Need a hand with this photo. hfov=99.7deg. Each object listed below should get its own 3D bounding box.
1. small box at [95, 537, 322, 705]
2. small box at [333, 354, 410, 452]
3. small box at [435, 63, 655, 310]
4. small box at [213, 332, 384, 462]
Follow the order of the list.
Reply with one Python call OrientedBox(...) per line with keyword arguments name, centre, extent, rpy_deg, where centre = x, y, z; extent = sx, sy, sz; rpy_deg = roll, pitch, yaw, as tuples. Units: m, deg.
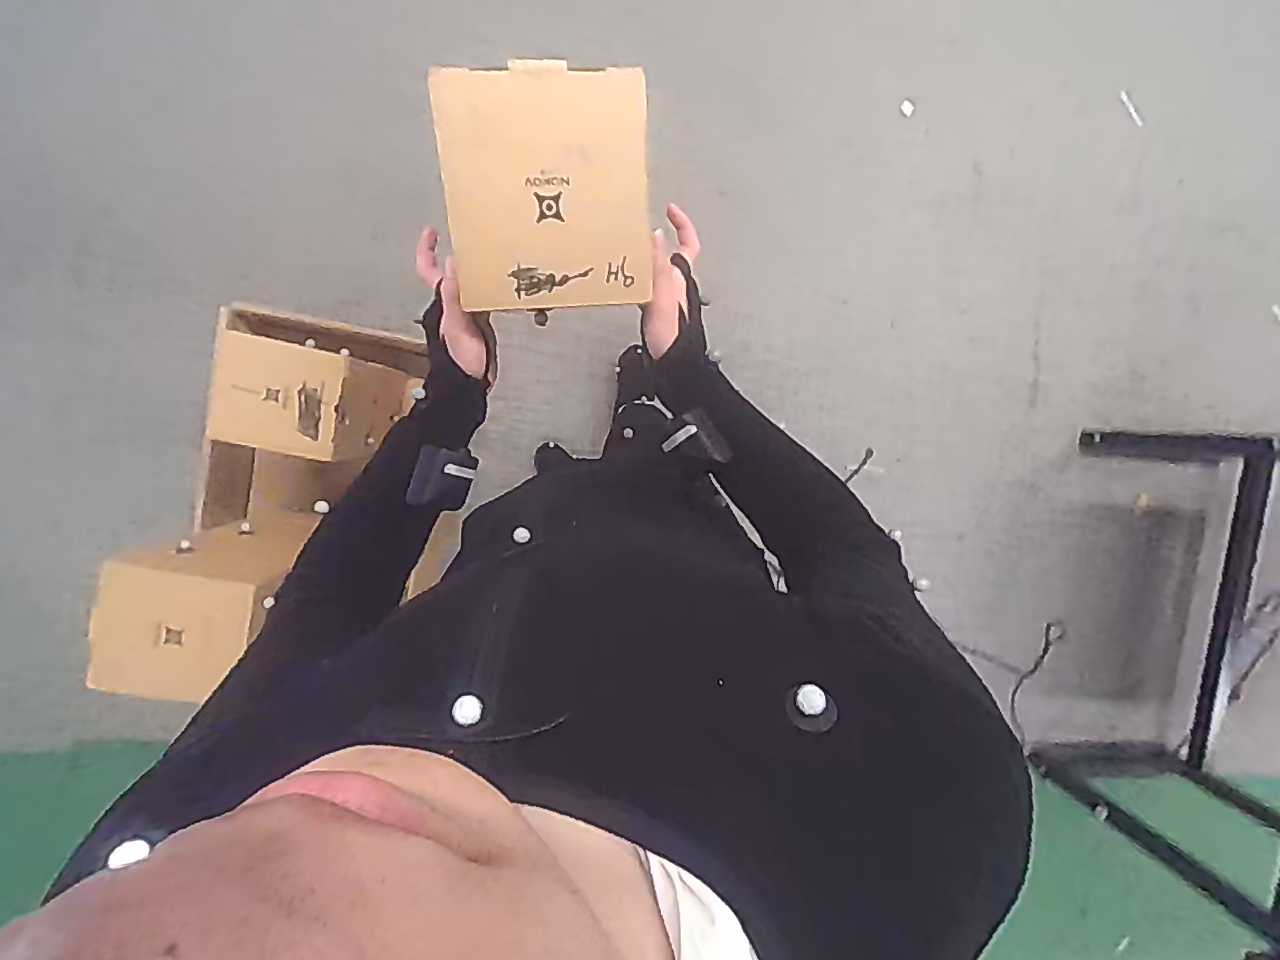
OrientedBox(name="small box", centre=(-0.584, 0.184, 0.753), extent=(0.179, 0.176, 0.168), rpy_deg=(11, 96, -7))
OrientedBox(name="small box", centre=(-0.572, -0.151, 1.052), extent=(0.179, 0.176, 0.168), rpy_deg=(10, 94, -8))
OrientedBox(name="small box", centre=(-0.079, -0.255, 0.510), extent=(0.168, 0.176, 0.179), rpy_deg=(-4, 108, -5))
OrientedBox(name="small box", centre=(-0.546, -0.131, 0.891), extent=(0.179, 0.176, 0.168), rpy_deg=(11, 94, -8))
